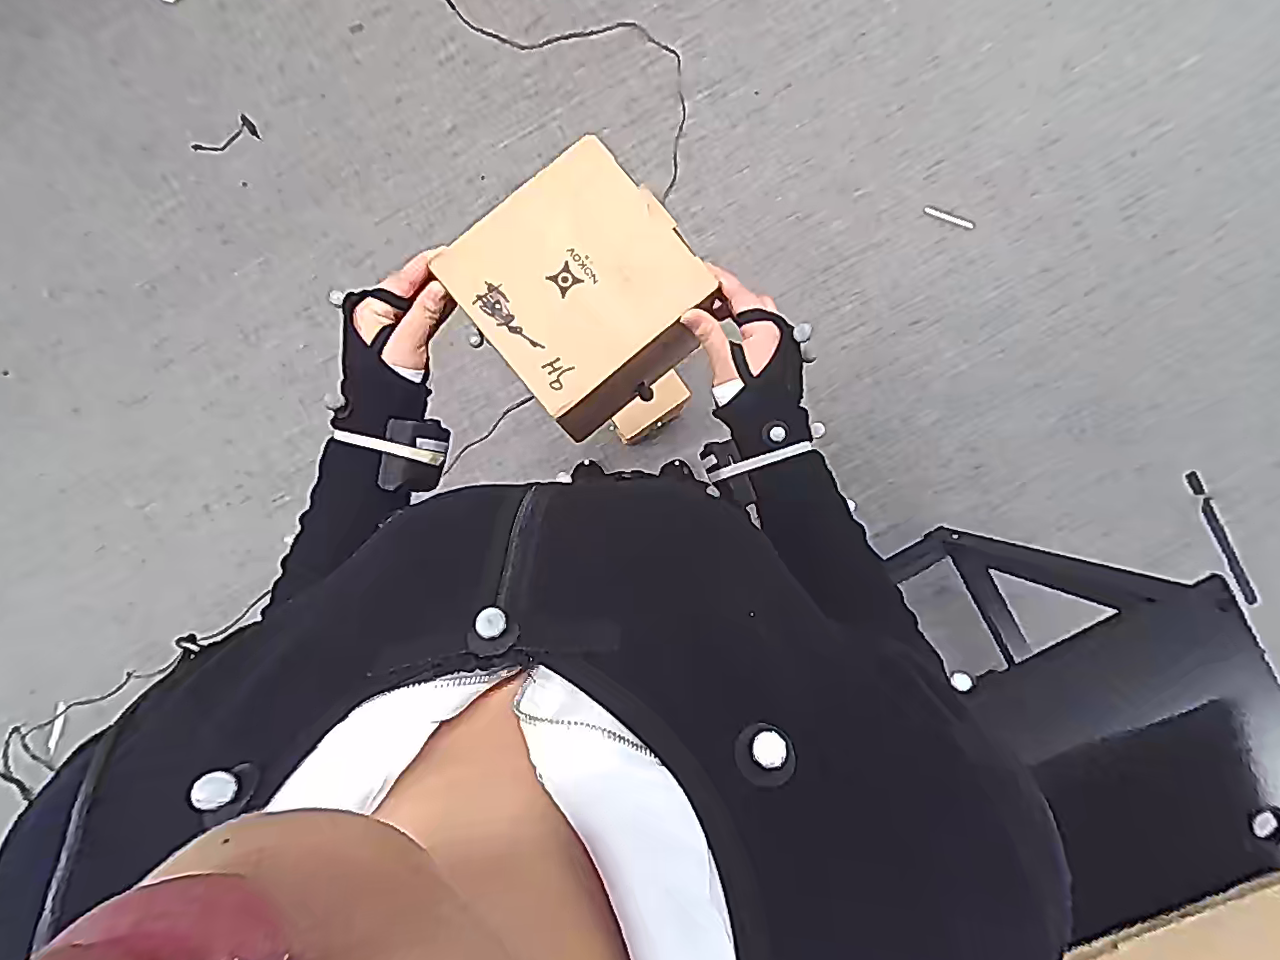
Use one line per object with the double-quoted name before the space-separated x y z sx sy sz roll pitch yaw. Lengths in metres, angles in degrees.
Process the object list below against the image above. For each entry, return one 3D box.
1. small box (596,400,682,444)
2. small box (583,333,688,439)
"small box" -0.010 -0.208 1.419 0.179 0.176 0.168 -32 91 3
"small box" -0.008 -0.208 1.257 0.179 0.176 0.168 -36 92 1
